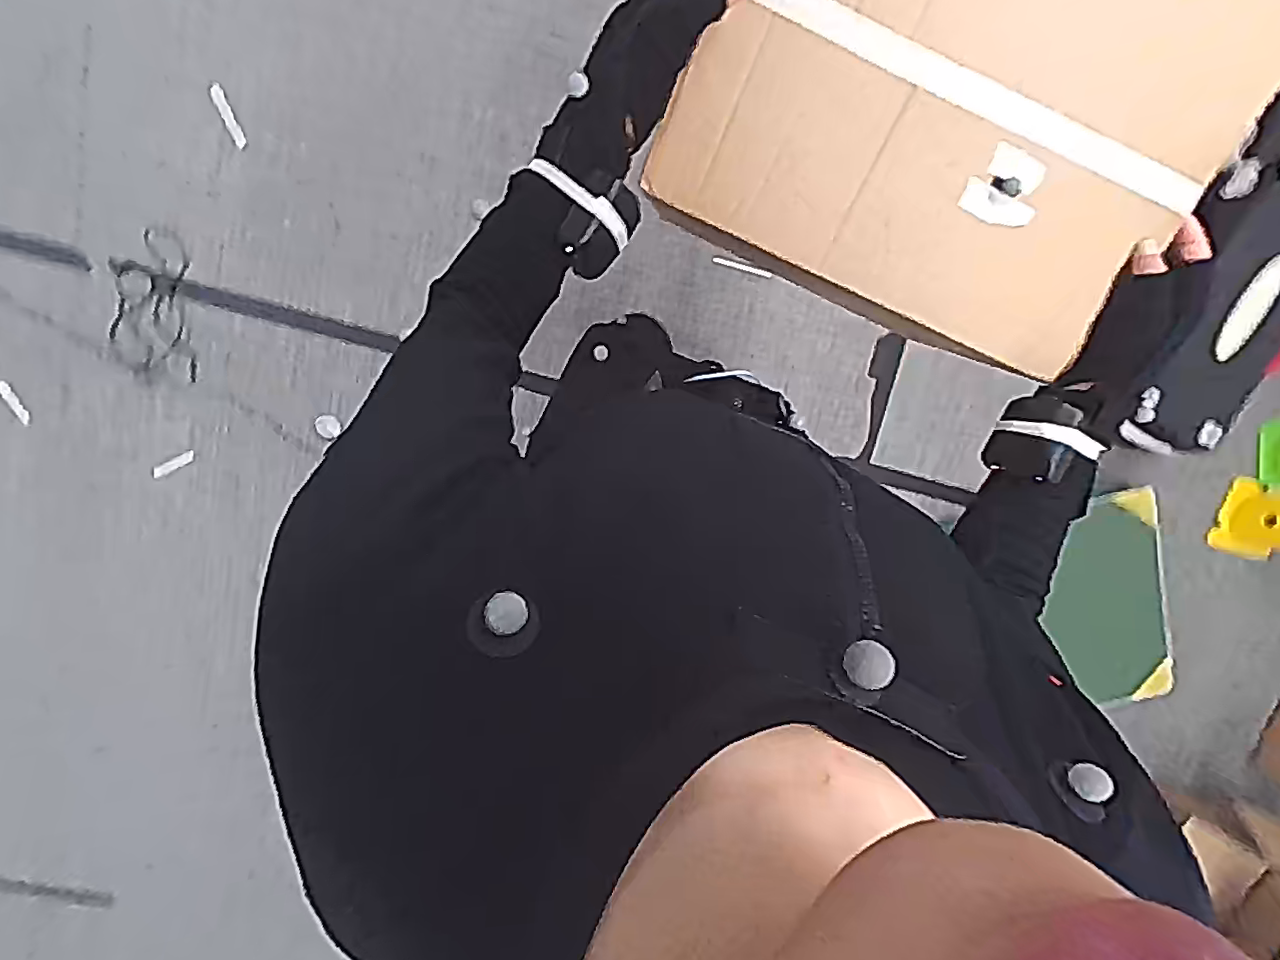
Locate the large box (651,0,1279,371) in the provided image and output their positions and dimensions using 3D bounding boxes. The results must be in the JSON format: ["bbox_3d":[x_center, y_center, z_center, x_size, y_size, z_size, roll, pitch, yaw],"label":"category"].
[{"bbox_3d":[0.255,-0.355,0.558,0.408,0.320,0.320,23,113,-5],"label":"large box"}]
